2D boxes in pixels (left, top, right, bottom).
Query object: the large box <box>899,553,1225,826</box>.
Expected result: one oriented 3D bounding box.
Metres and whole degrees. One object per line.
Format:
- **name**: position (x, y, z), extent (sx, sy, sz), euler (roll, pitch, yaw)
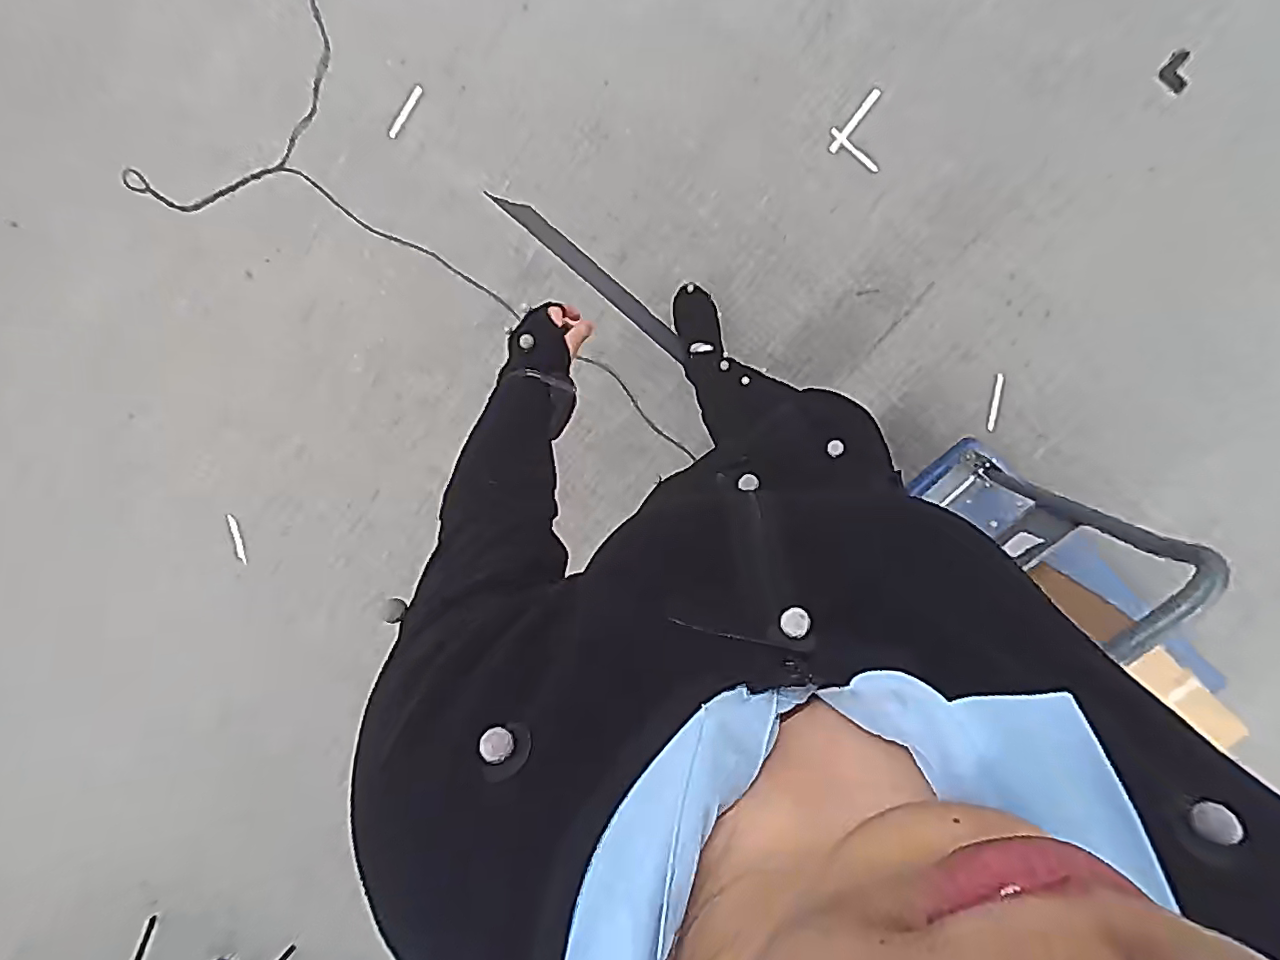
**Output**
- **large box**: position (0.877, 0.439, 1.195), extent (0.320, 0.320, 0.408), euler (43, 103, -5)
